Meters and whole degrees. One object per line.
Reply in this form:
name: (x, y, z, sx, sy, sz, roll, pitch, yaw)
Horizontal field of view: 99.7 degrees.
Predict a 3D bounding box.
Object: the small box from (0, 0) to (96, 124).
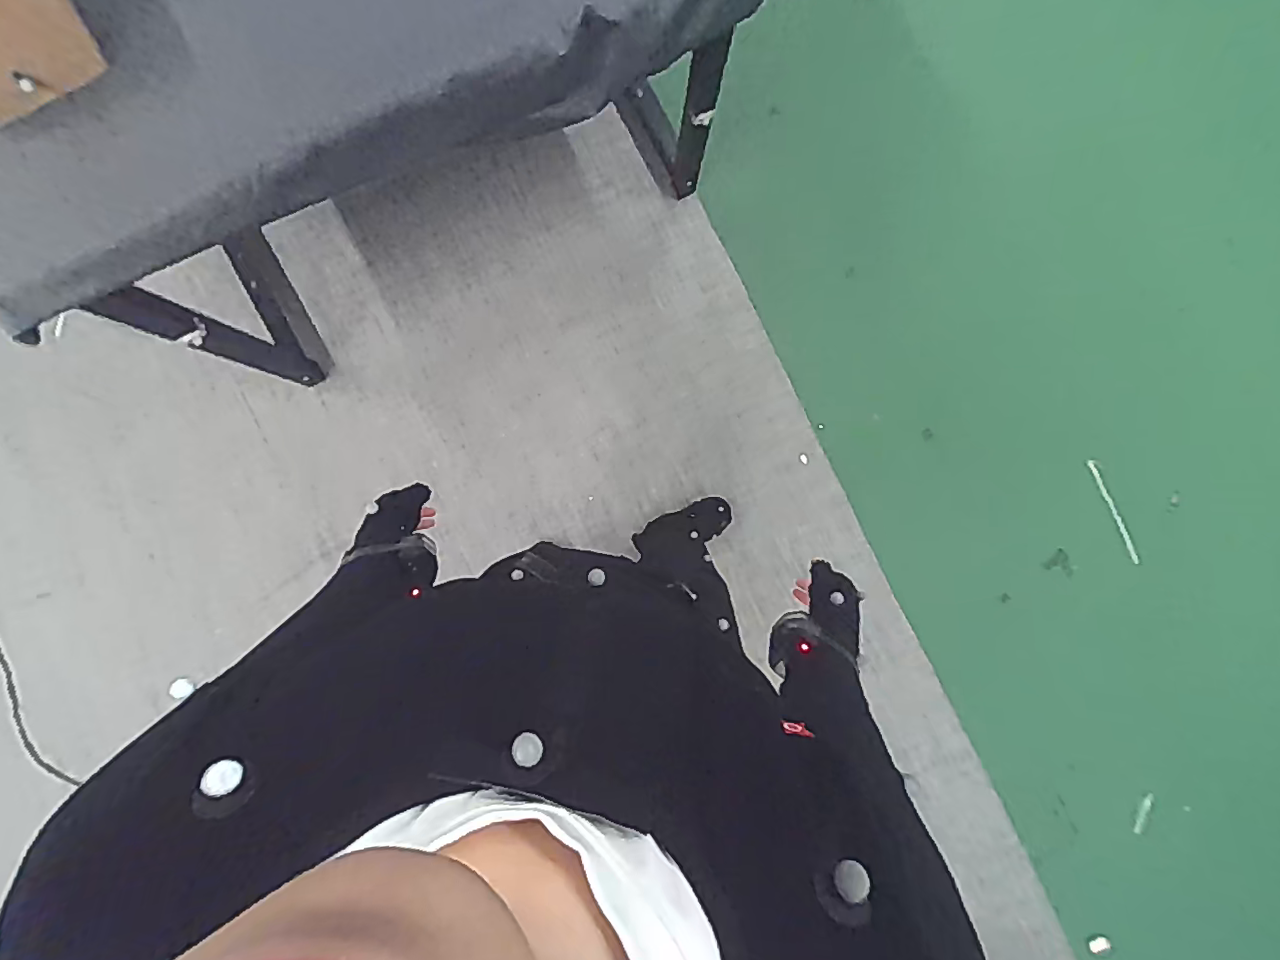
small box: (-0.825, -0.584, 0.649, 0.179, 0.176, 0.168, -31, 90, -3)
